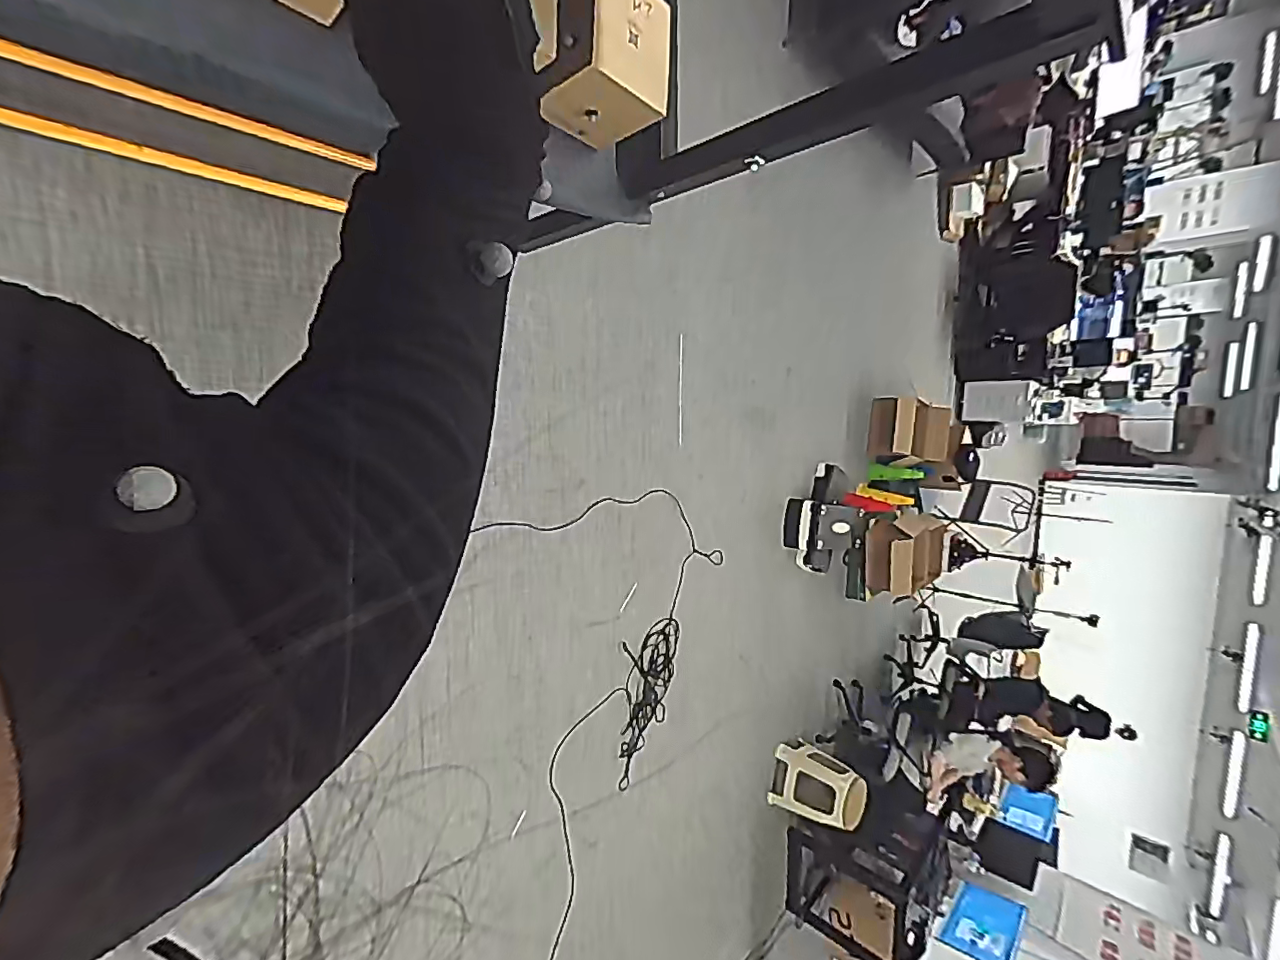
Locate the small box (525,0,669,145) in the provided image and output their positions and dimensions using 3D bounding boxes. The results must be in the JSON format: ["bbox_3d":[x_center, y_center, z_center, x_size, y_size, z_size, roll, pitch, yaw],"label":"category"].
[{"bbox_3d":[-0.072,-0.687,0.879,0.168,0.176,0.179,-1,95,-47],"label":"small box"}]
